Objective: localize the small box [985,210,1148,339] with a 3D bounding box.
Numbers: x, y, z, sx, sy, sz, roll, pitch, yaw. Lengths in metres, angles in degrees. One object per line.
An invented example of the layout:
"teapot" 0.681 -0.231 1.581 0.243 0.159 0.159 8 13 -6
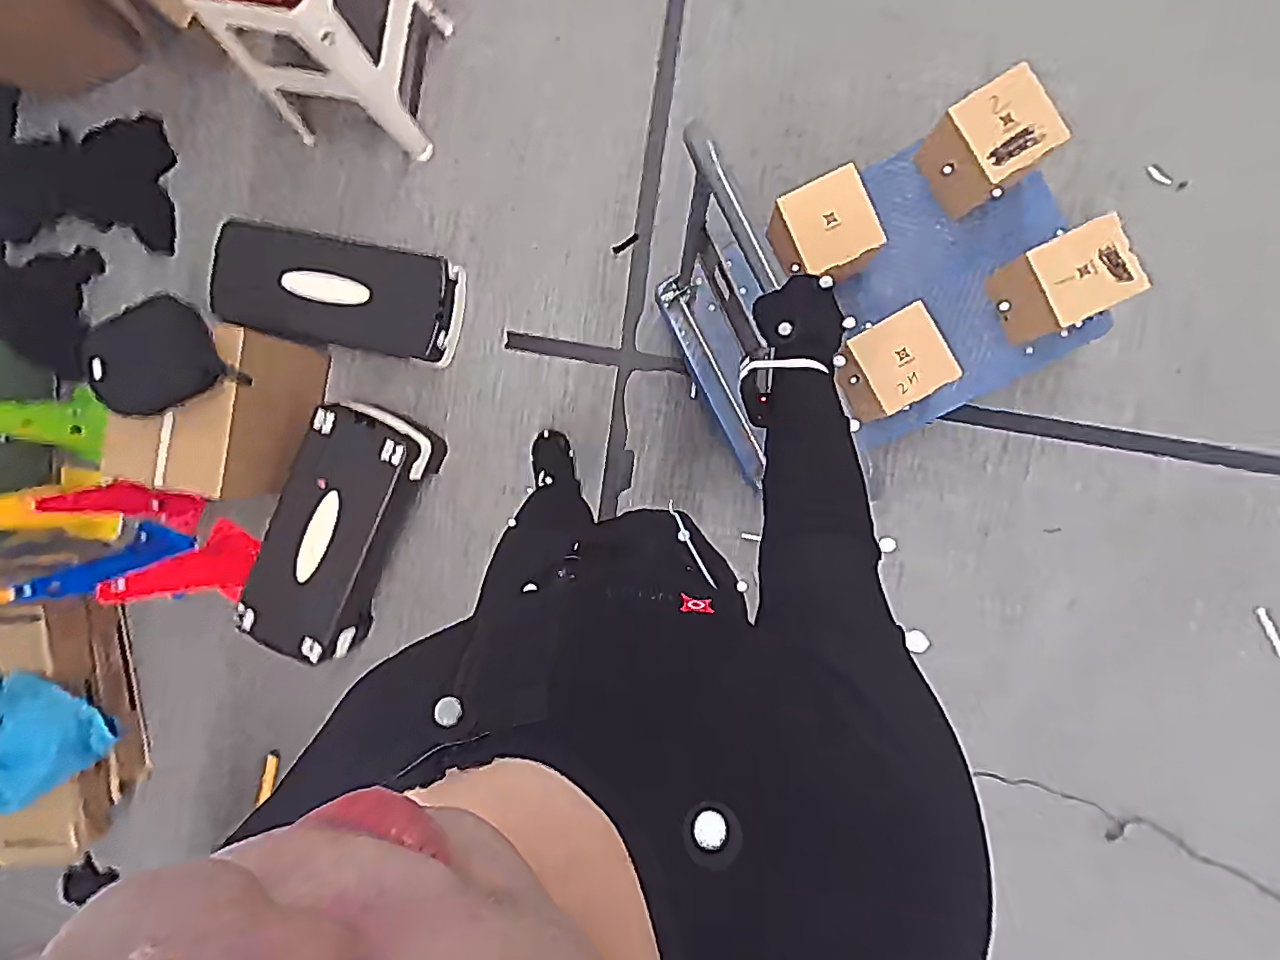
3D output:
"small box" 0.868 -0.414 1.118 0.179 0.176 0.168 -26 90 7

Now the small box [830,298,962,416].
"small box" 0.533 -0.252 1.155 0.168 0.176 0.179 -29 90 6

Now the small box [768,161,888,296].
"small box" 0.389 -0.525 1.155 0.168 0.176 0.179 -25 92 5
